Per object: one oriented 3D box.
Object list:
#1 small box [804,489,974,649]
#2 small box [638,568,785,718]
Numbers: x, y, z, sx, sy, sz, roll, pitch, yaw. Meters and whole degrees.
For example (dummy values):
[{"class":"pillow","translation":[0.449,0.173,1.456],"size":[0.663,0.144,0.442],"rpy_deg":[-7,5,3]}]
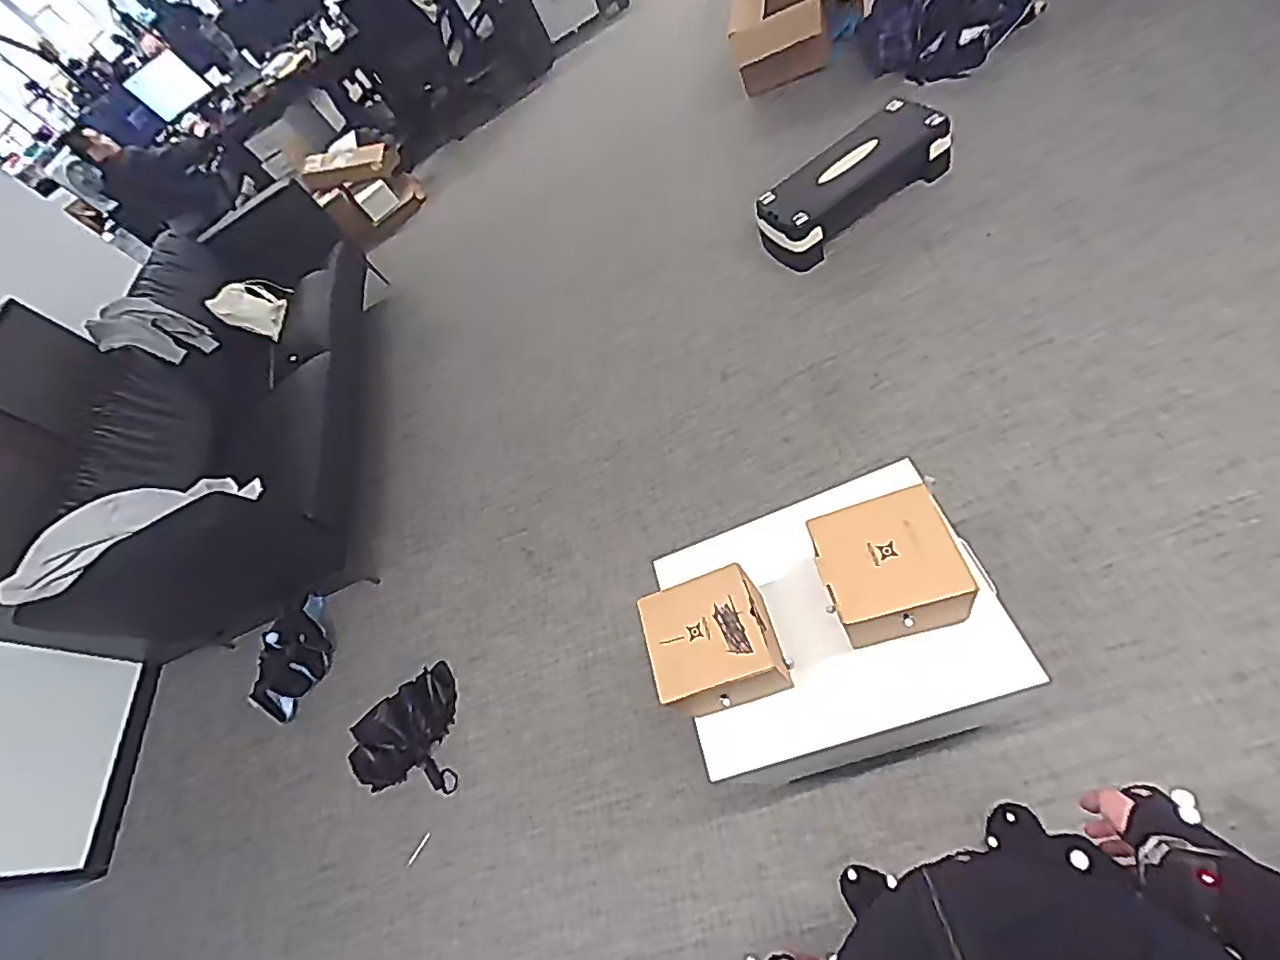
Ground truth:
[{"class":"small box","translation":[0.369,0.143,0.815],"size":[0.179,0.176,0.168],"rpy_deg":[-20,57,15]},{"class":"small box","translation":[0.120,0.266,0.864],"size":[0.179,0.176,0.168],"rpy_deg":[-23,54,13]}]
